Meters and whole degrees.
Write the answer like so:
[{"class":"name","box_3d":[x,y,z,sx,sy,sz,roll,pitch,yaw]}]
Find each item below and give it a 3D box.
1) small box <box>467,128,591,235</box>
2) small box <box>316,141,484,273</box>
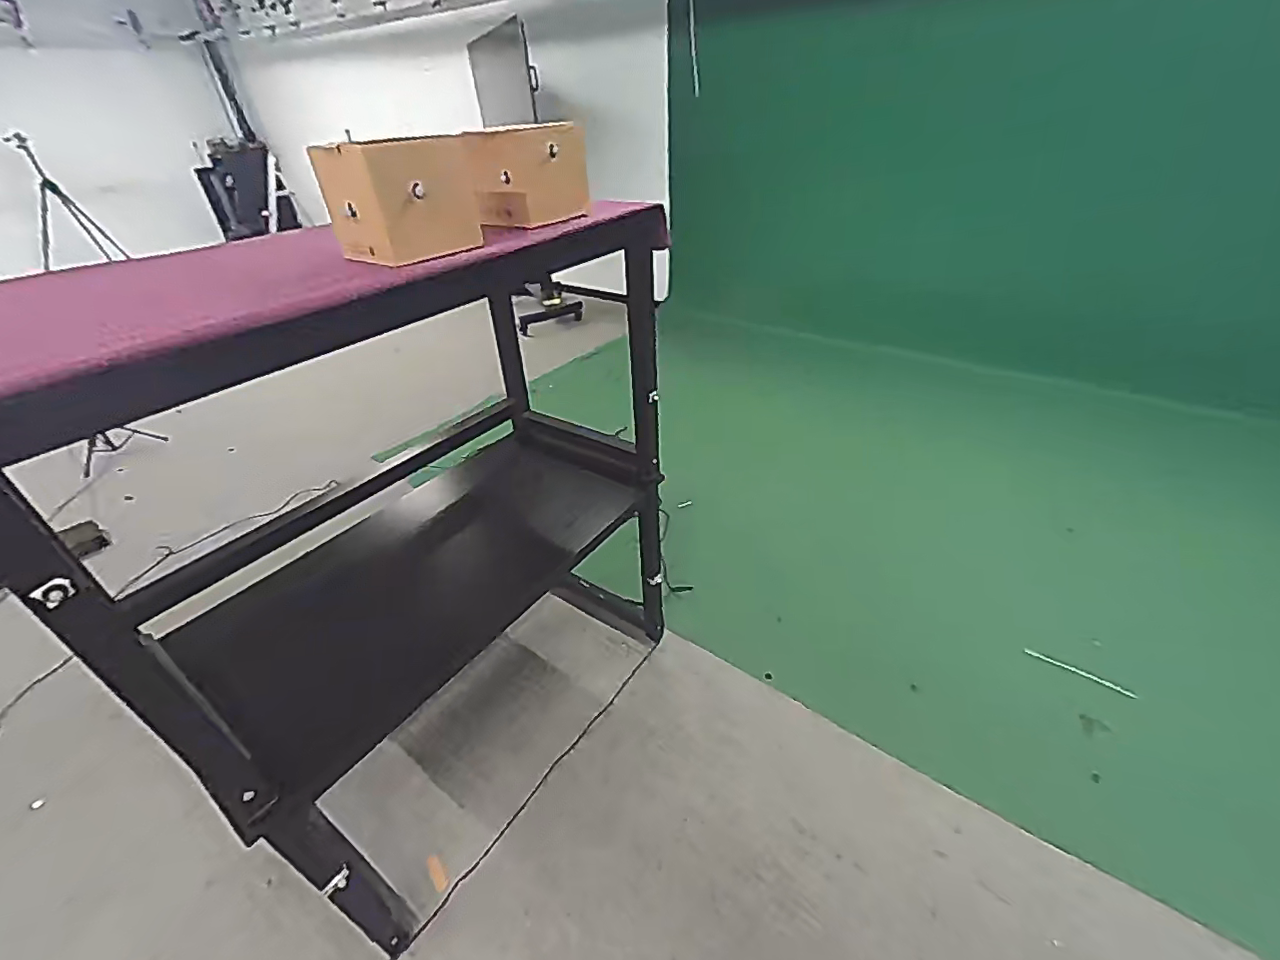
[{"class":"small box","box_3d":[-0.217,-0.610,1.109,0.168,0.176,0.179,23,43,34]},{"class":"small box","box_3d":[-0.389,-0.455,0.903,0.168,0.176,0.179,22,43,32]}]
